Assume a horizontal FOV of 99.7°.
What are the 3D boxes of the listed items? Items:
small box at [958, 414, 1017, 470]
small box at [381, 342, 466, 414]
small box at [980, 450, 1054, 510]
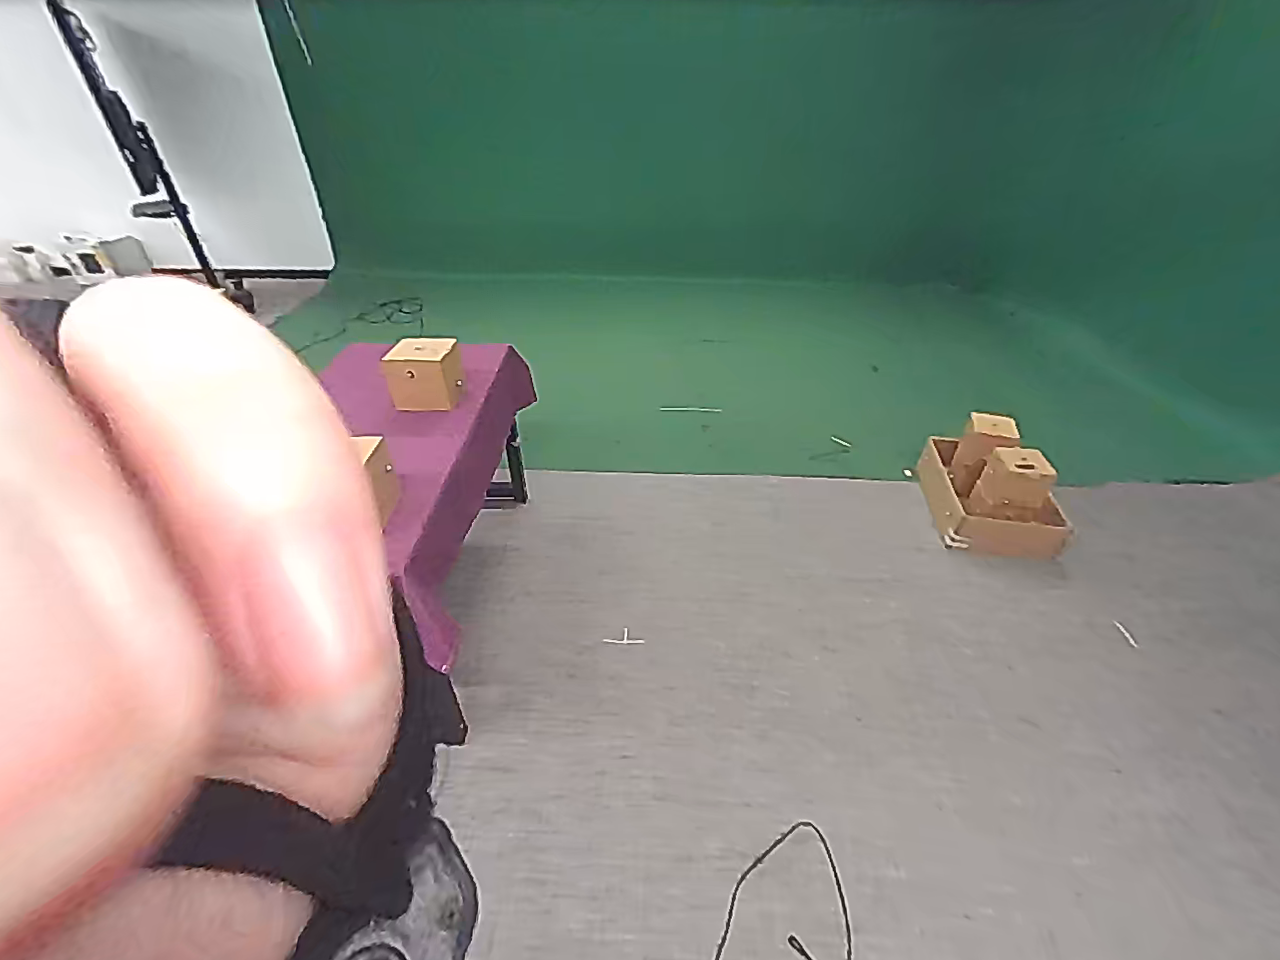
[{"bbox_3d":[1.500,-0.159,2.345,0.168,0.176,0.179,13,40,17],"label":"small box"},{"bbox_3d":[-0.661,-0.315,1.671,0.179,0.176,0.168,2,37,2],"label":"small box"},{"bbox_3d":[1.474,0.001,2.126,0.168,0.176,0.179,5,35,9],"label":"small box"}]
